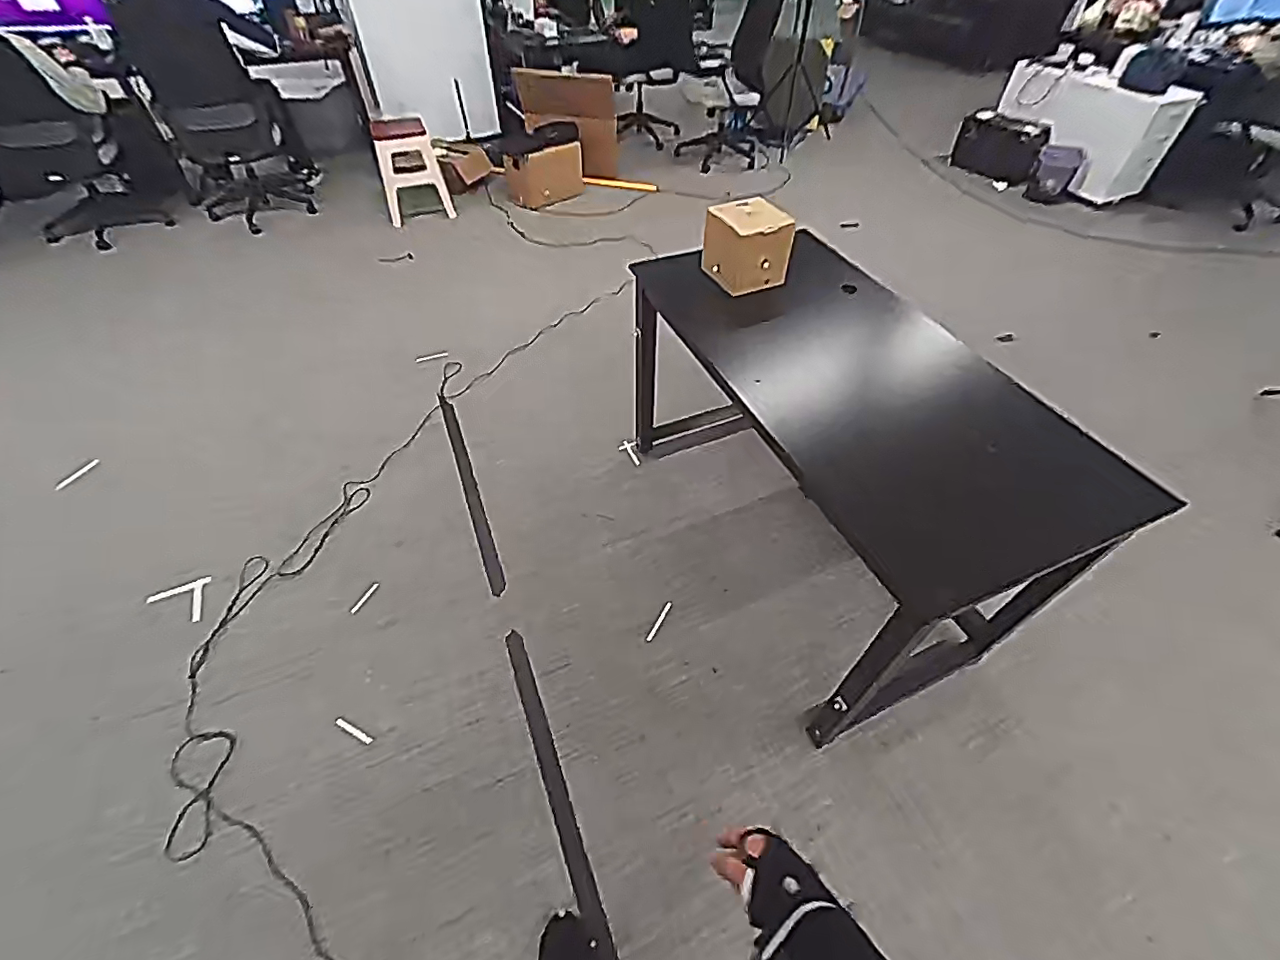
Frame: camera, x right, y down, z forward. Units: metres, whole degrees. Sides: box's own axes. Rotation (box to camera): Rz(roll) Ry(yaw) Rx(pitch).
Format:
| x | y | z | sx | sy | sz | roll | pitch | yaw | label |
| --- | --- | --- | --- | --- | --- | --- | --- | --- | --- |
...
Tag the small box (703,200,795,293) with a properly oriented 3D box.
| x | y | z | sx | sy | sz | roll | pitch | yaw | label |
| --- | --- | --- | --- | --- | --- | --- | --- | --- | --- |
| 0.284 | -0.618 | 1.450 | 0.168 | 0.176 | 0.179 | -19 | 53 | -17 | small box |
